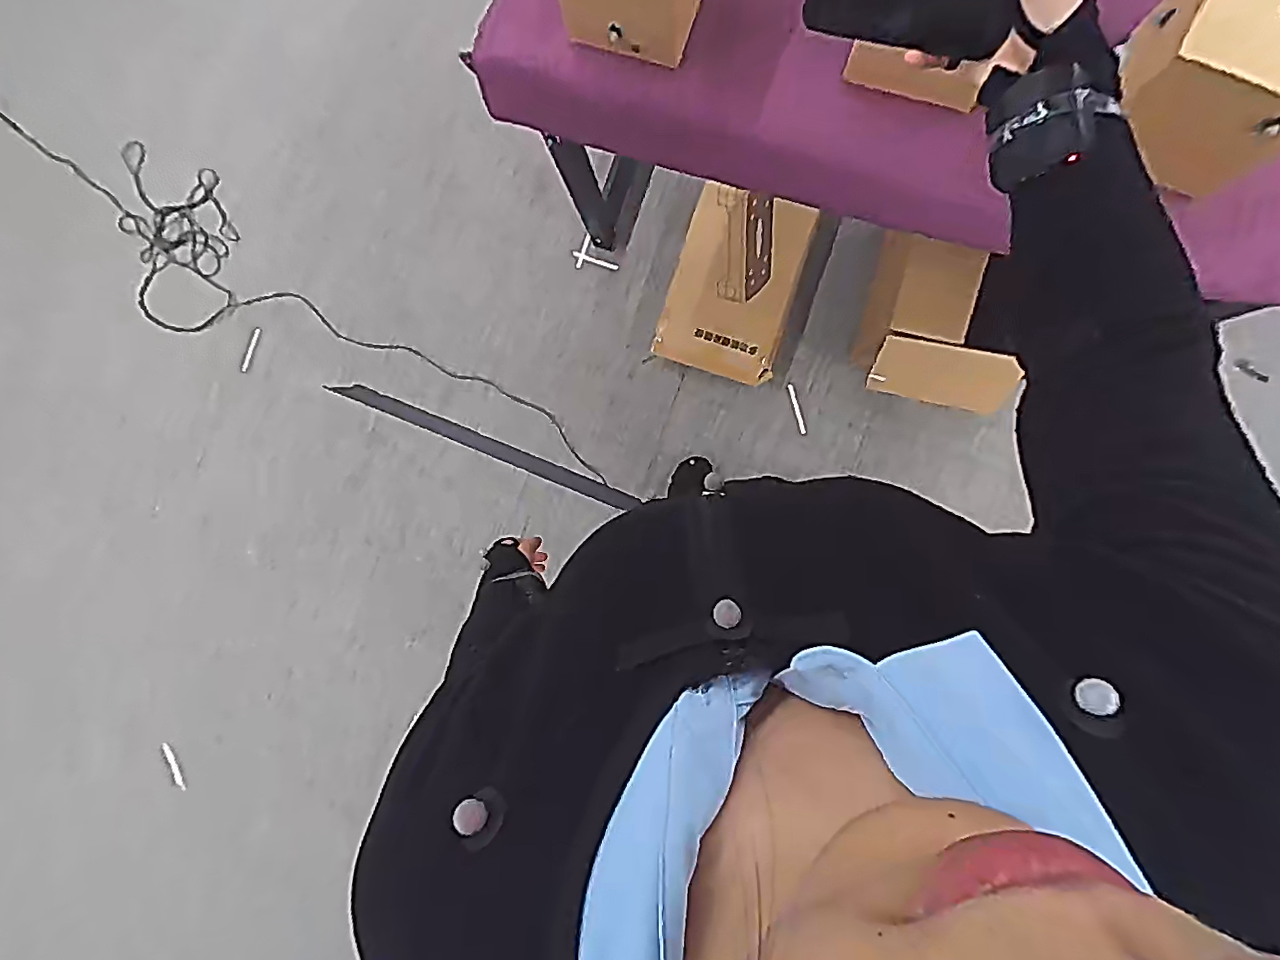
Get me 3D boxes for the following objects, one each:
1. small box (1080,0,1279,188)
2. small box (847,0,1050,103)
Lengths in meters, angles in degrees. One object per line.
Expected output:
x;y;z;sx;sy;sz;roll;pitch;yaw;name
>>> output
0.668;-0.473;0.616;0.179;0.176;0.168;26;94;5;small box
0.377;-0.598;0.646;0.179;0.176;0.168;19;90;6;small box
